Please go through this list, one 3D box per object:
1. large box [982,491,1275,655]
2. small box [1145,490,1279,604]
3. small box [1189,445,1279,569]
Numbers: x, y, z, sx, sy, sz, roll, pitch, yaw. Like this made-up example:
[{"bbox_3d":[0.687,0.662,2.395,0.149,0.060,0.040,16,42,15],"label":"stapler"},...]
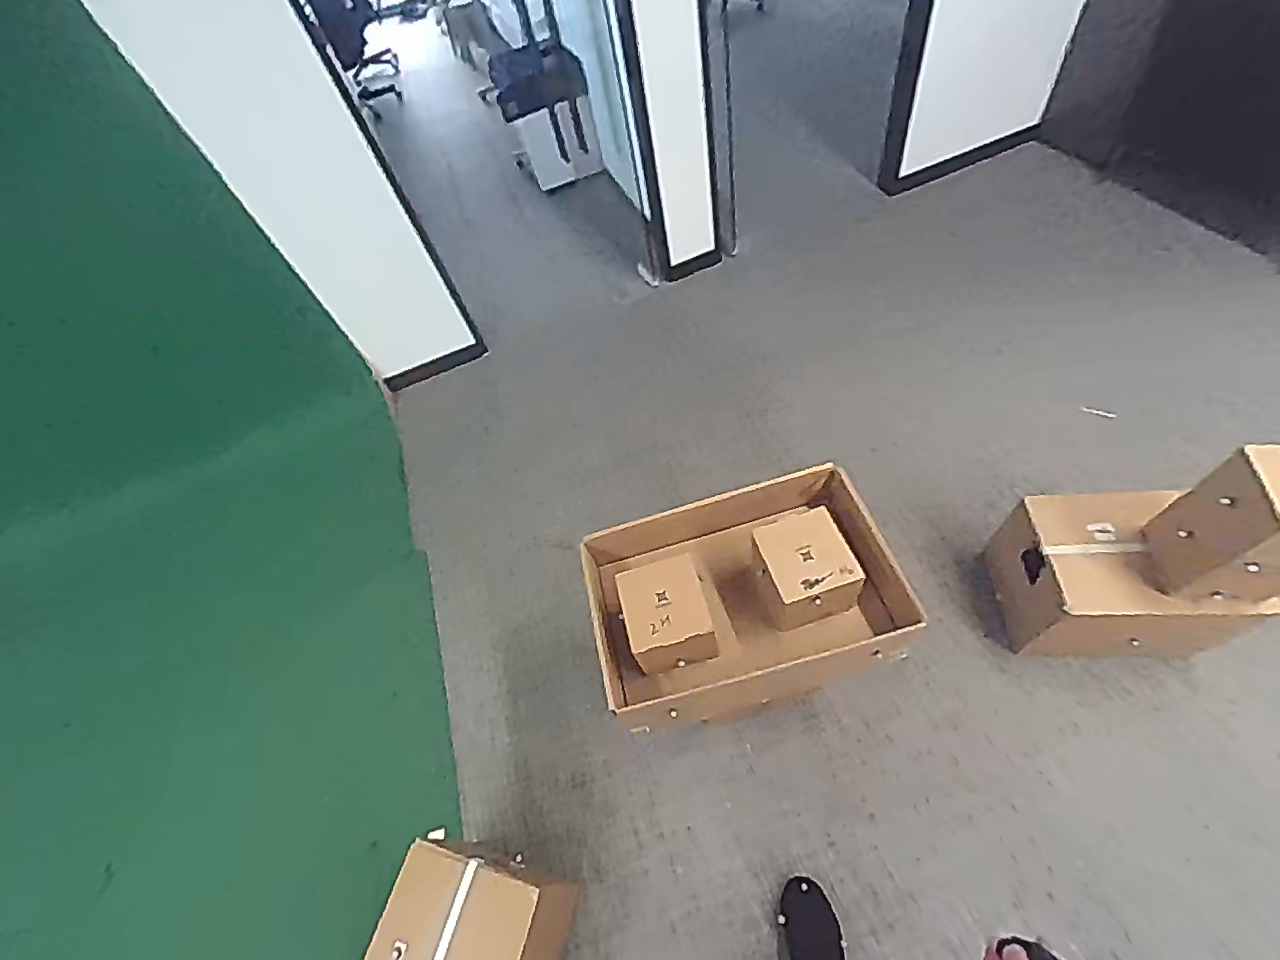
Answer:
[{"bbox_3d":[1.169,0.246,1.361,0.408,0.320,0.320,-3,55,11],"label":"large box"},{"bbox_3d":[1.210,0.139,1.124,0.168,0.176,0.179,2,59,14],"label":"small box"},{"bbox_3d":[1.177,0.056,0.987,0.168,0.176,0.179,3,57,15],"label":"small box"}]
